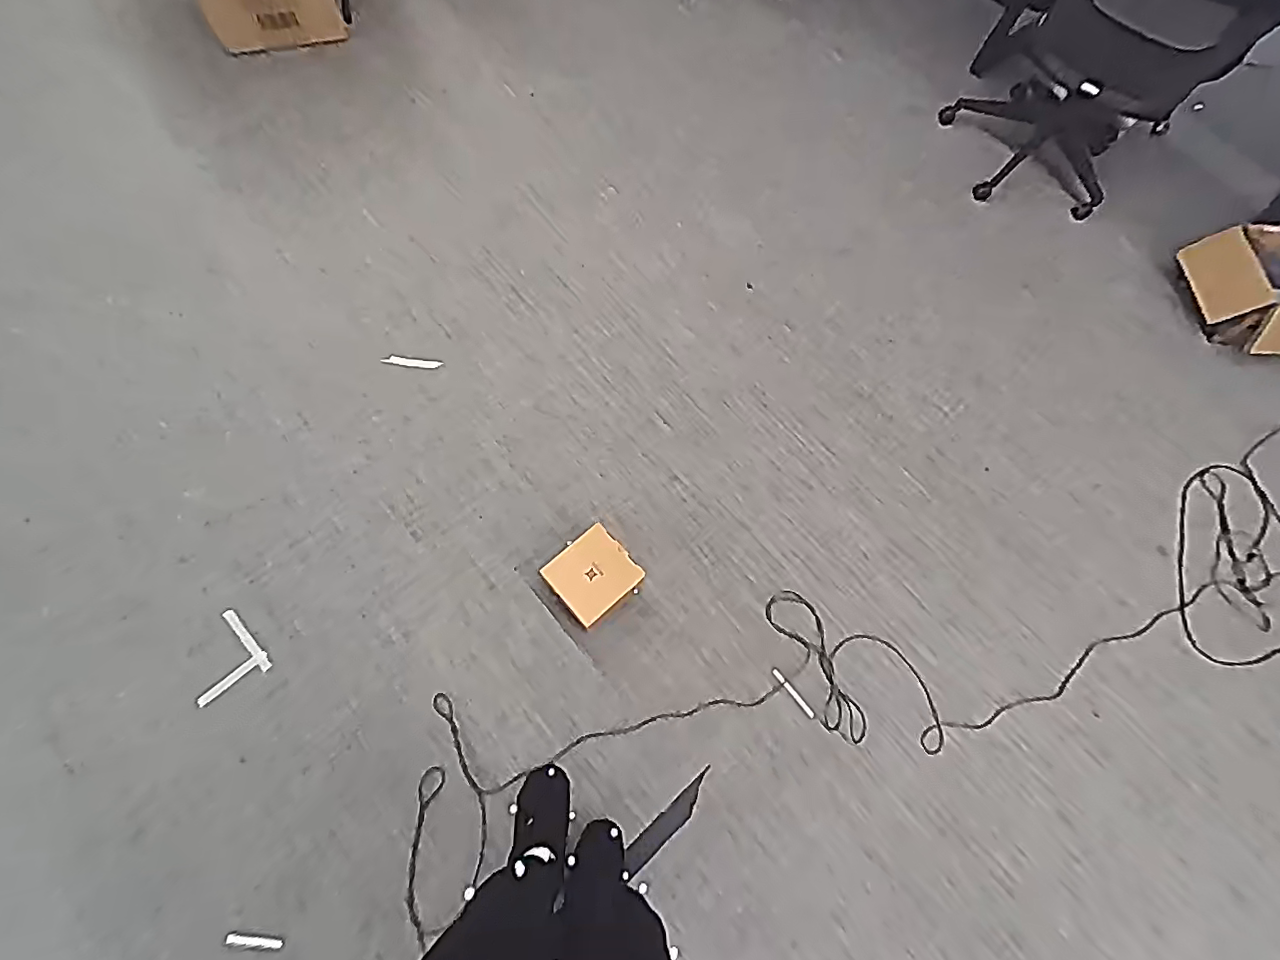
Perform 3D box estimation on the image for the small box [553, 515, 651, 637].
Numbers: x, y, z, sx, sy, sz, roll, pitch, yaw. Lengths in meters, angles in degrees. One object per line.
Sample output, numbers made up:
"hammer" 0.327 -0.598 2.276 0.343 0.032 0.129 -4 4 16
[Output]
"small box" -0.087 0.214 1.235 0.179 0.176 0.168 35 51 26
